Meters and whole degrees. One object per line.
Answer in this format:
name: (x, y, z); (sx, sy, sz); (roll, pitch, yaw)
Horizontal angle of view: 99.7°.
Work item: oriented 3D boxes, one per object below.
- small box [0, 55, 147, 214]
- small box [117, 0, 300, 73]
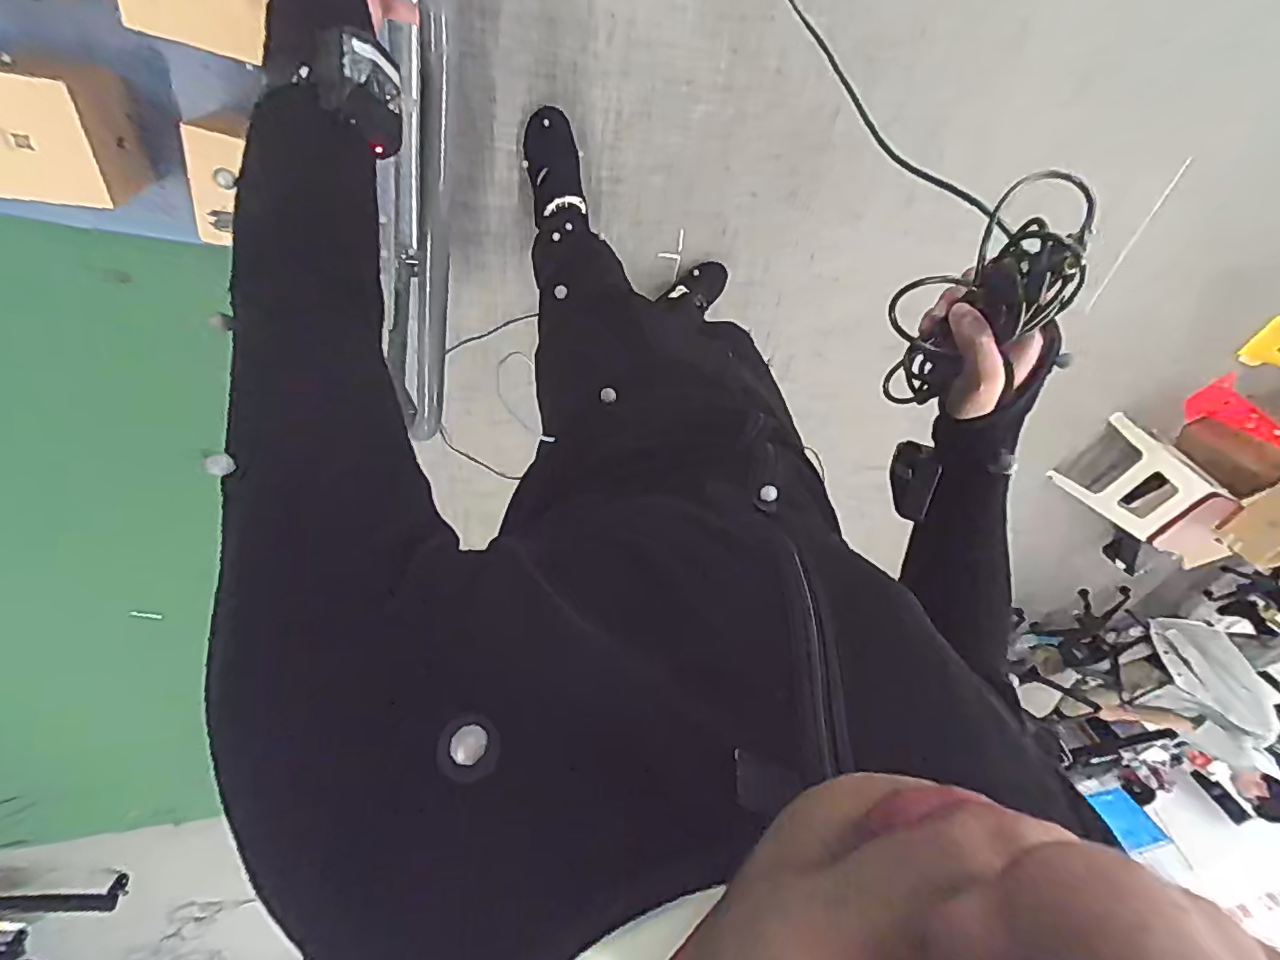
small box: (-0.902, -0.526, 0.823); (0.179, 0.176, 0.168); (0, 130, -18)
small box: (-0.603, -0.704, 0.761); (0.179, 0.176, 0.168); (3, 130, -22)
